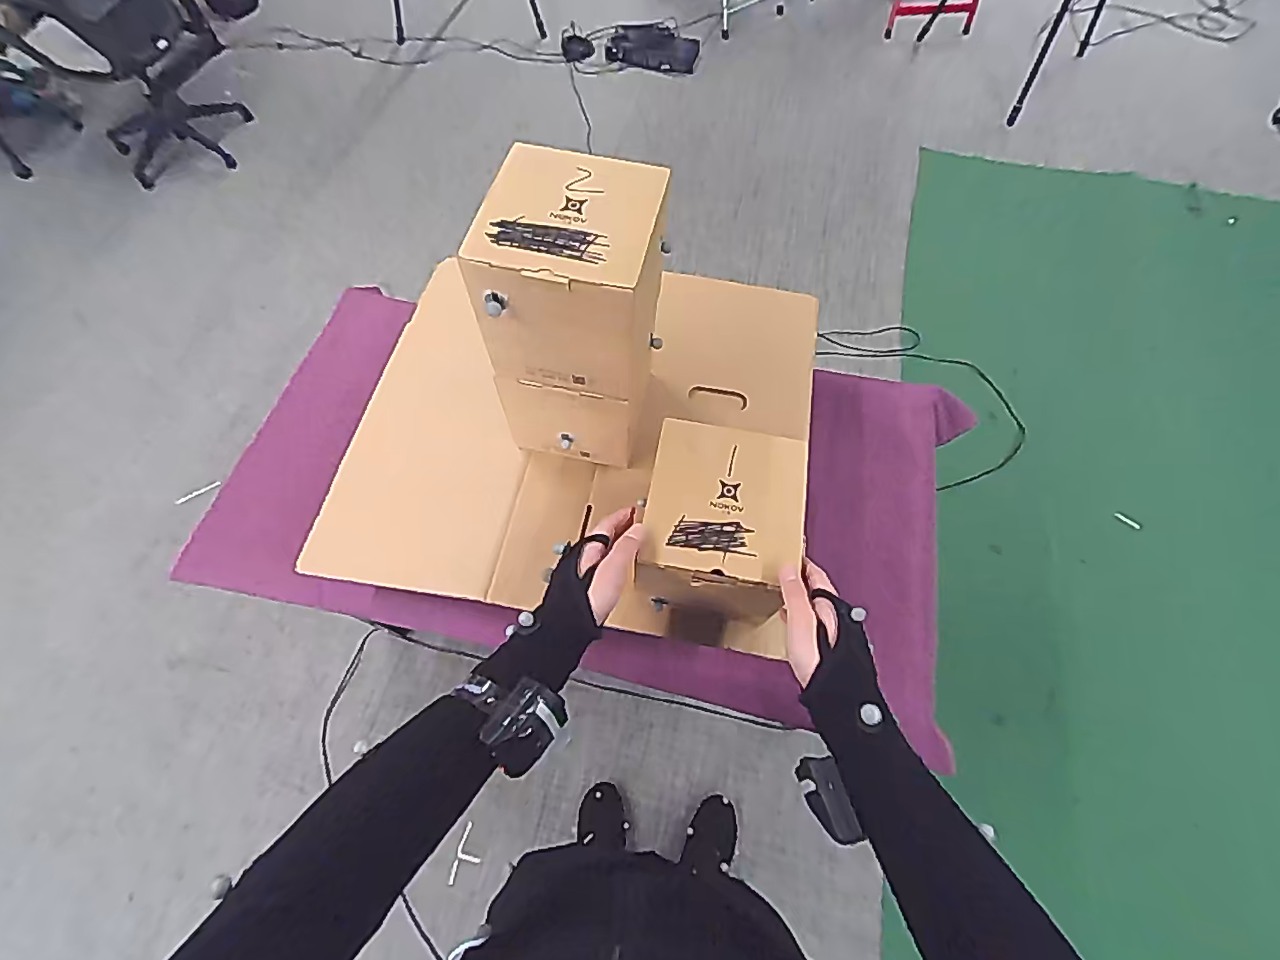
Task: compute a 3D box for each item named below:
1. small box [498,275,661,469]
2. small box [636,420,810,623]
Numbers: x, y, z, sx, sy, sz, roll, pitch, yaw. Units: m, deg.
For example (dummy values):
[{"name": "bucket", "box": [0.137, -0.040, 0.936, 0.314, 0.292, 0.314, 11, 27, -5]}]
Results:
[{"name": "small box", "box": [-0.073, -0.140, 0.731, 0.168, 0.176, 0.179, 11, 65, 4]}, {"name": "small box", "box": [0.092, 0.057, 0.639, 0.168, 0.176, 0.179, 10, 63, 4]}]
